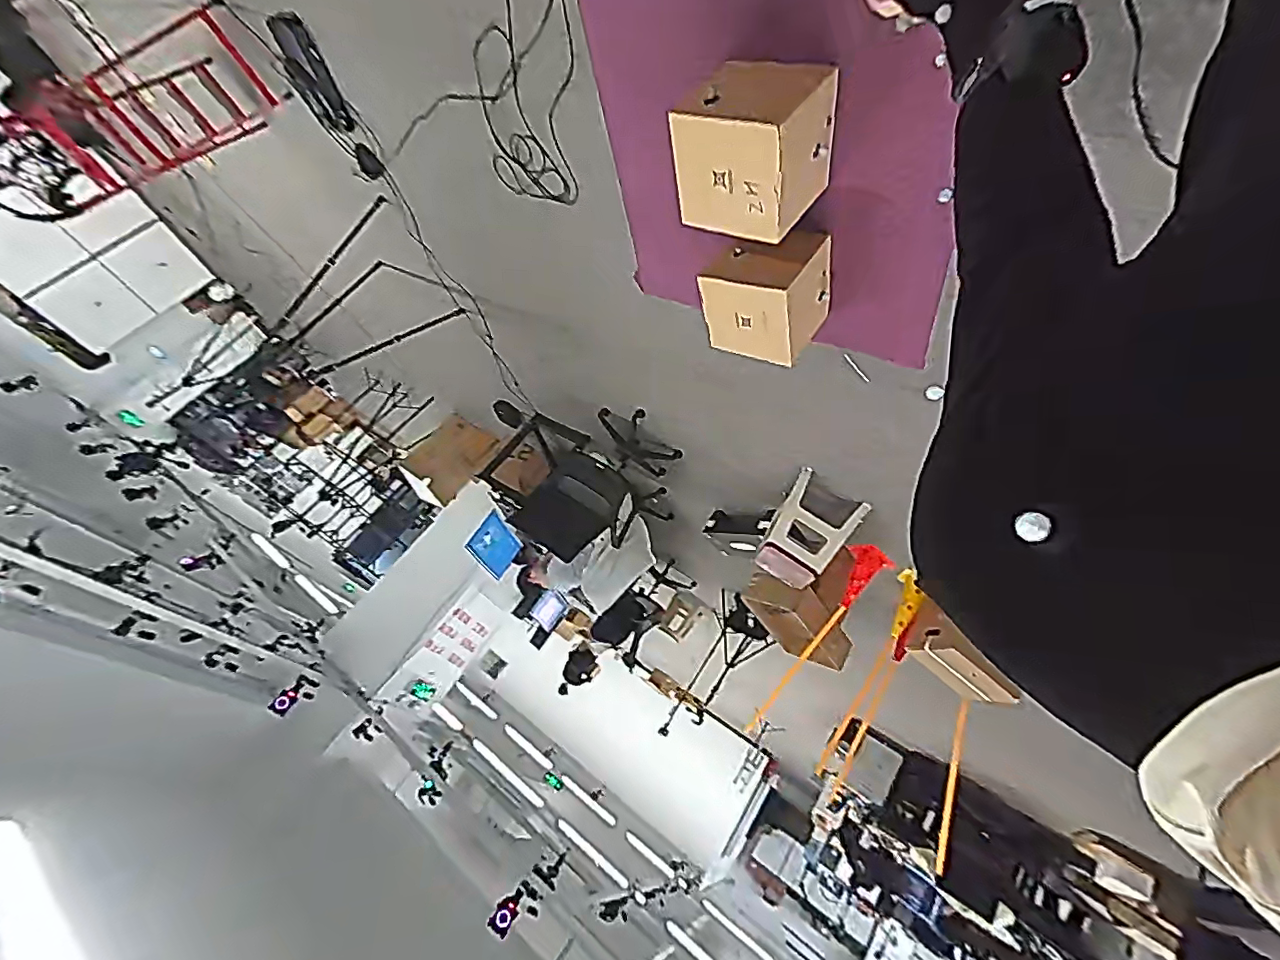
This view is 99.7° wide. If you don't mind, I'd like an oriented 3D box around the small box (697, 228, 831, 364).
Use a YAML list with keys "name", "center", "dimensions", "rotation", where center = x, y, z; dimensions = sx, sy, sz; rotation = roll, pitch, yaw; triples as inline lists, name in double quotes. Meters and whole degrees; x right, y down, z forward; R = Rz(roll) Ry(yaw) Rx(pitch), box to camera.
- name: "small box"
  center: [0.234, -0.348, 1.003]
  dimensions: [0.179, 0.176, 0.168]
  rotation: [24, 155, 32]

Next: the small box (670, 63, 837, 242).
- name: "small box"
  center: [0.169, -0.494, 0.811]
  dimensions: [0.179, 0.176, 0.168]
  rotation: [26, 156, 27]
